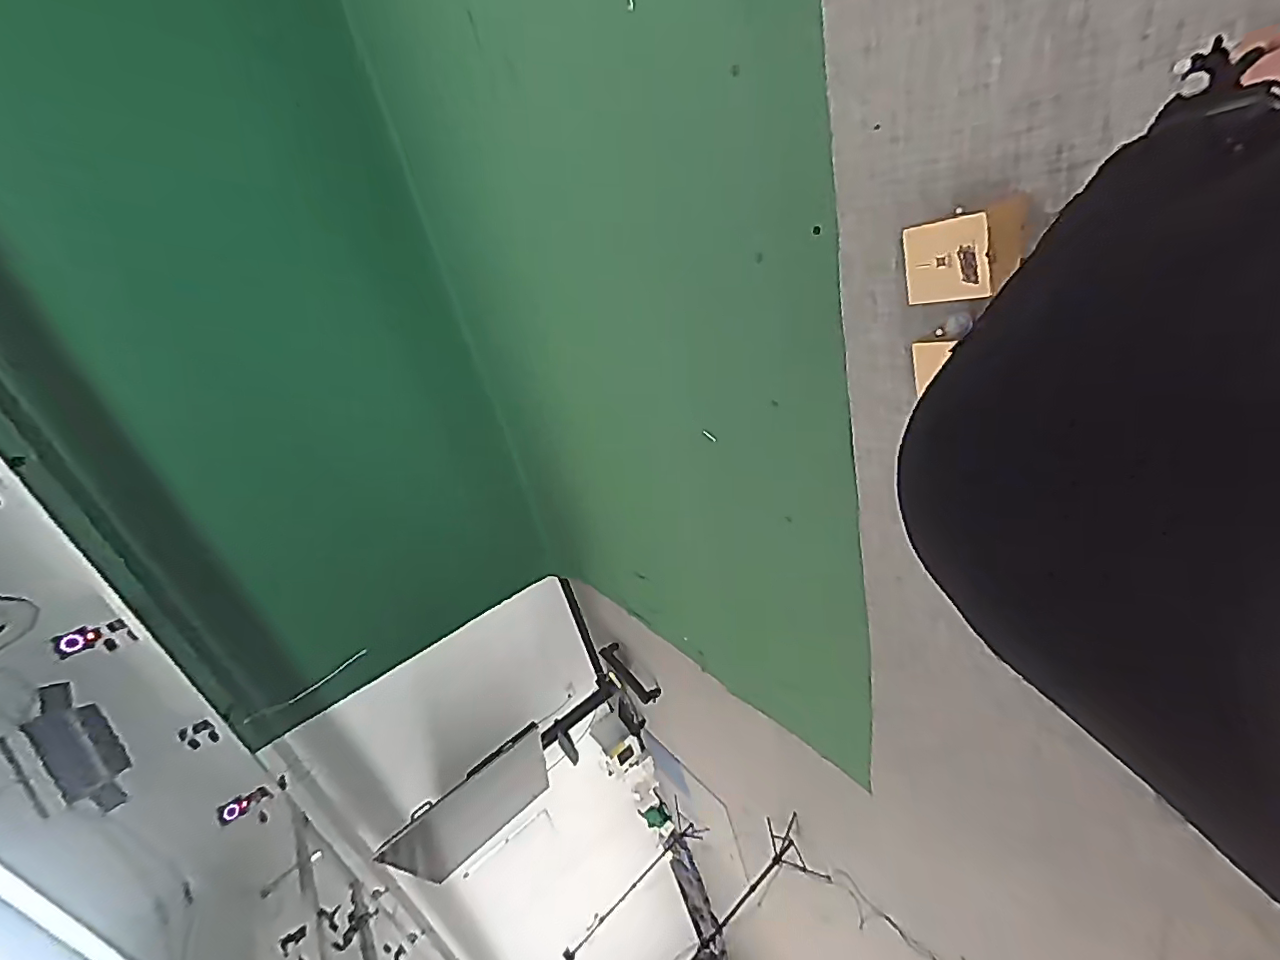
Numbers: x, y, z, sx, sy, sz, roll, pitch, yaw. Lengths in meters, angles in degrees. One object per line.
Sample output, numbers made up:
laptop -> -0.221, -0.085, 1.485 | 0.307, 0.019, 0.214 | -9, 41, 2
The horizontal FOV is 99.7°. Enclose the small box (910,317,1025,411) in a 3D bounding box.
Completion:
small box -> 0.769, -0.274, 1.271 | 0.179, 0.176, 0.168 | 15, 129, 54

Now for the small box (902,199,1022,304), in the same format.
small box -> 0.704, -0.495, 1.177 | 0.179, 0.176, 0.168 | 16, 128, 54
